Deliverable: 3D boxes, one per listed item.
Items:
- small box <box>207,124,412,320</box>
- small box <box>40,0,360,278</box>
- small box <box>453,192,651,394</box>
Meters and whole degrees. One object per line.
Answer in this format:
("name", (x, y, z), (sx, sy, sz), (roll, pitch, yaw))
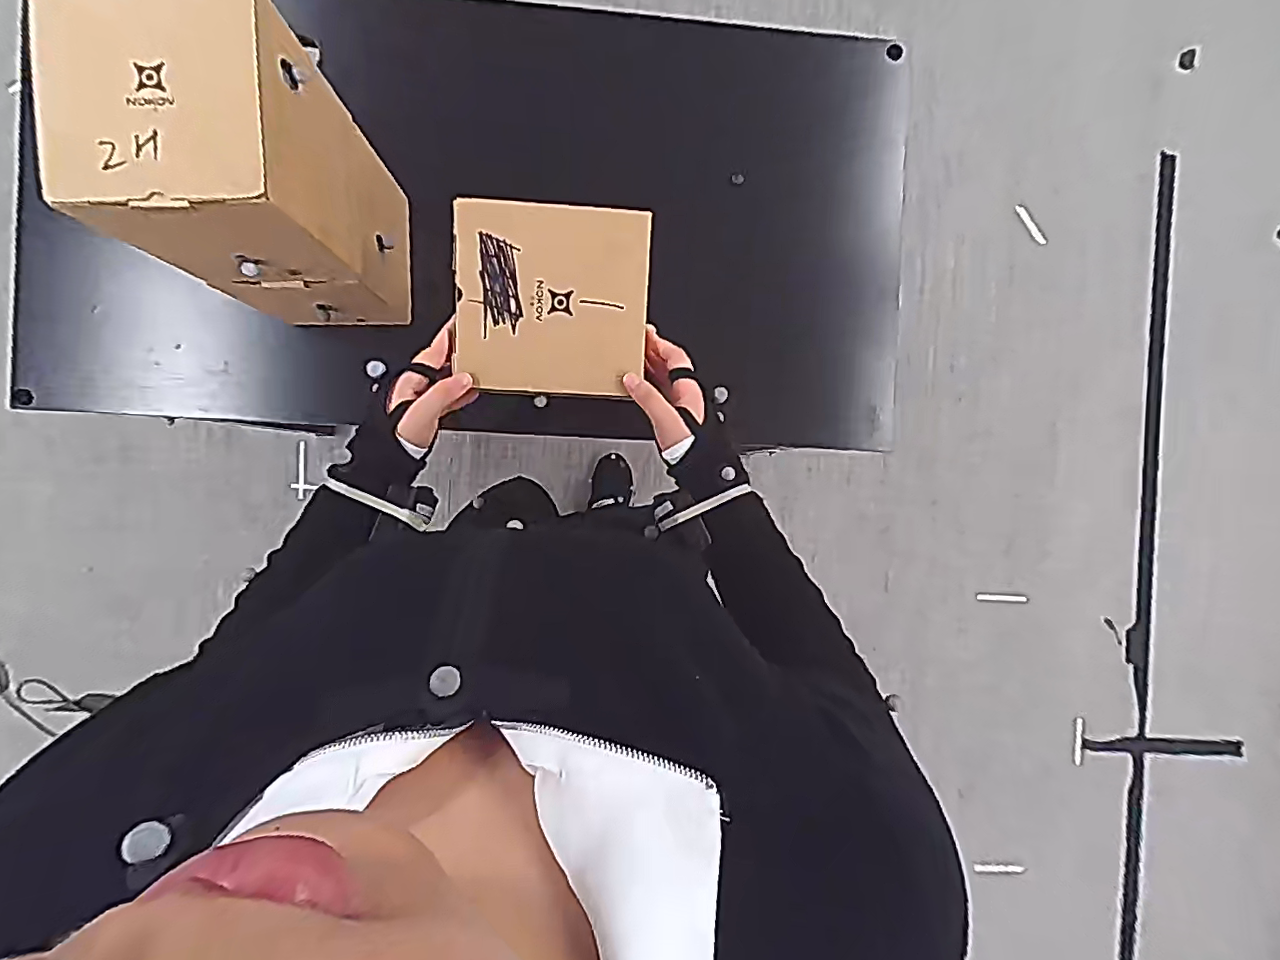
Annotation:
("small box", (-0.393, -0.302, 0.667), (0.168, 0.176, 0.179), (-1, 91, -4))
("small box", (-0.381, -0.306, 0.501), (0.168, 0.176, 0.179), (-3, 91, -3))
("small box", (-0.084, -0.180, 0.569), (0.179, 0.176, 0.168), (3, 98, -3))
